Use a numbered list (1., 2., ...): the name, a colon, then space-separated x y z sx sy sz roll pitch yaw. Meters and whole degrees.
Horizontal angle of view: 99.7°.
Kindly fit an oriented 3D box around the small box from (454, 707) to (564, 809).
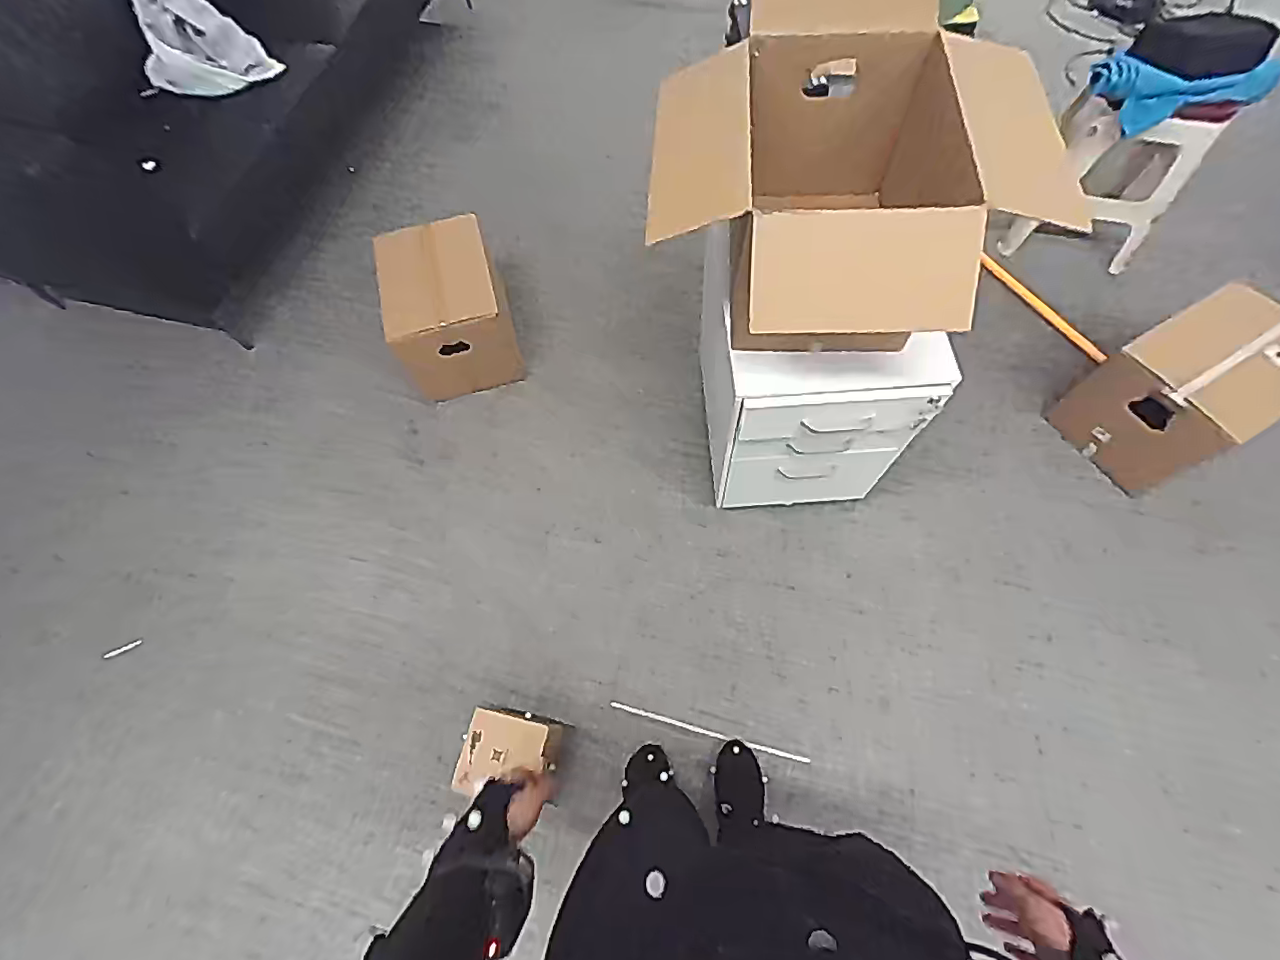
1. small box: -0.286 0.623 1.229 0.179 0.176 0.168 11 67 9
